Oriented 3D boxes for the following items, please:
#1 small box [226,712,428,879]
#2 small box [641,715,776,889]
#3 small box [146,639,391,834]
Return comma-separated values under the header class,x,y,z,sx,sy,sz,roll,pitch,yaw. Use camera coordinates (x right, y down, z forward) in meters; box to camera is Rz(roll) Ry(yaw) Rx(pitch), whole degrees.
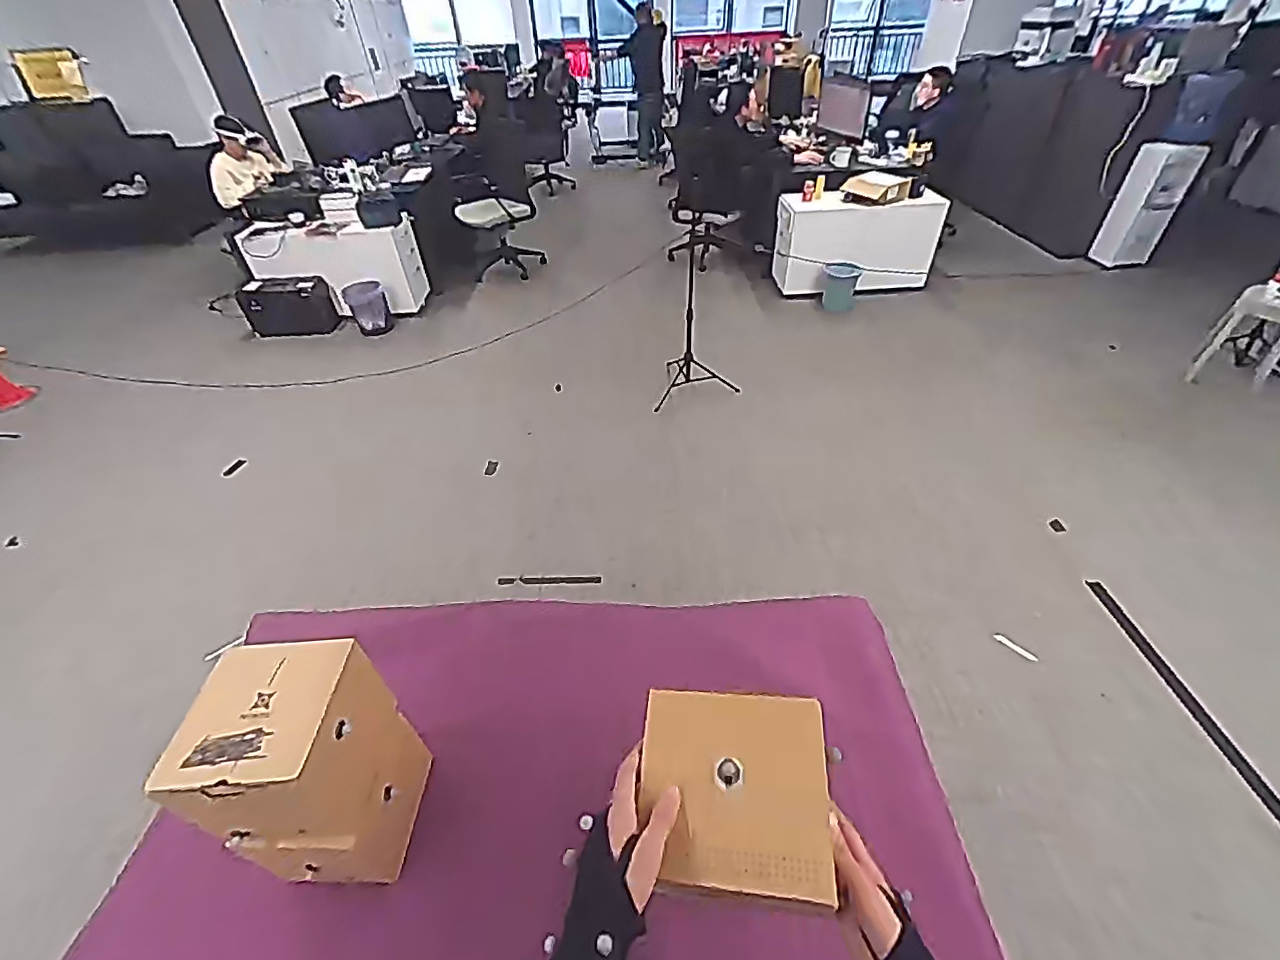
class,x,y,z,sx,sy,sz,roll,pitch,yaw
small box,-0.430,0.456,0.783,0.168,0.176,0.179,0,42,2
small box,0.090,0.454,0.762,0.168,0.176,0.179,-1,41,3
small box,-0.439,0.326,0.682,0.168,0.176,0.179,-3,41,-1
